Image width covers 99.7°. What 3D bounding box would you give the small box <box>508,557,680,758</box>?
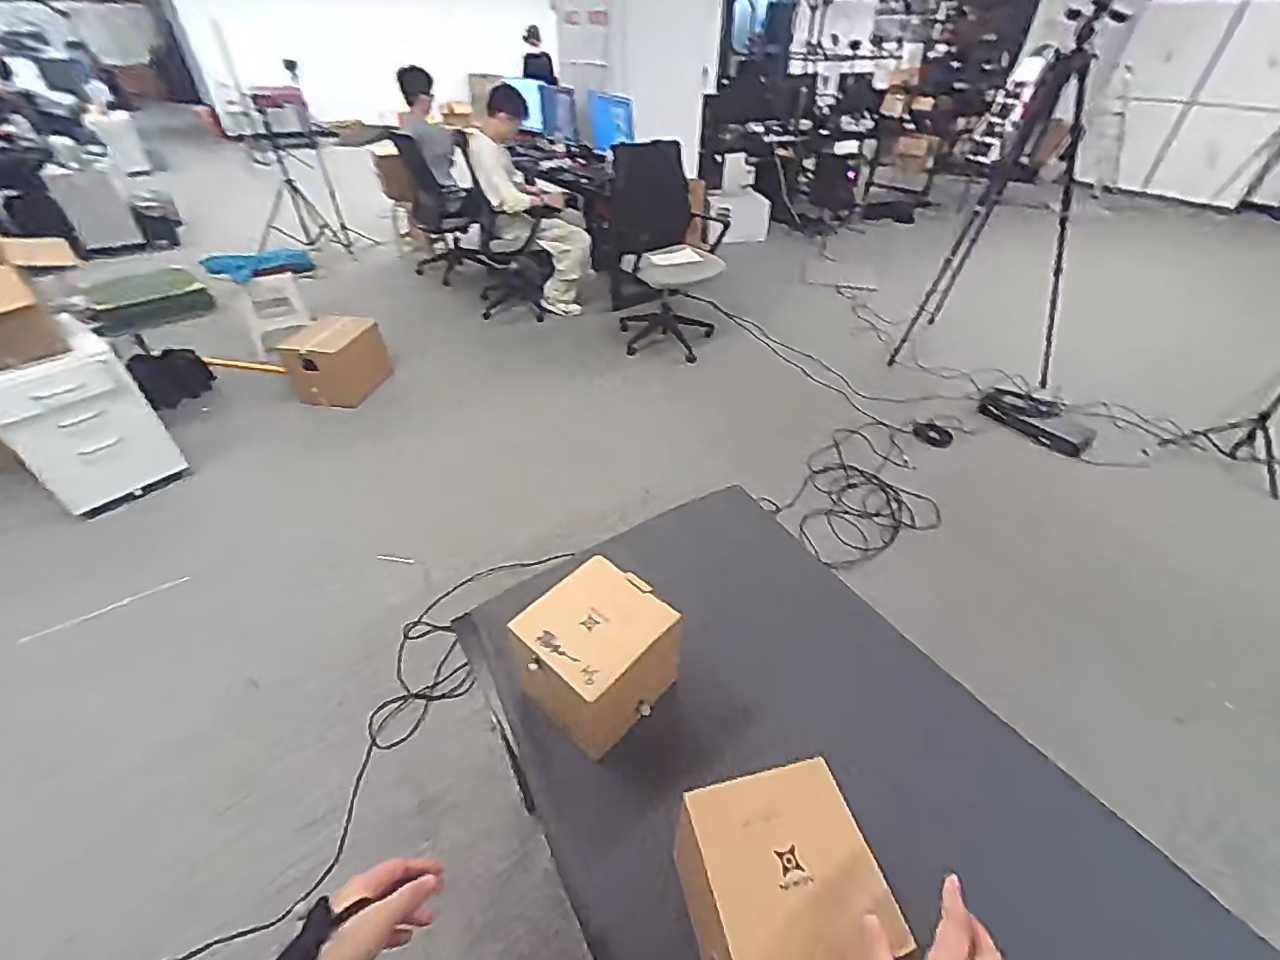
[{"bbox_3d":[-0.064,0.252,0.780,0.168,0.176,0.179,31,48,32],"label":"small box"}]

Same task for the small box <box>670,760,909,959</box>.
[{"bbox_3d":[0.135,0.433,0.563,0.168,0.176,0.179,-7,37,-13],"label":"small box"}]

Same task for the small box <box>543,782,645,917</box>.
[{"bbox_3d":[-0.101,0.835,1.222,0.179,0.176,0.168,-19,43,-24],"label":"small box"}]
